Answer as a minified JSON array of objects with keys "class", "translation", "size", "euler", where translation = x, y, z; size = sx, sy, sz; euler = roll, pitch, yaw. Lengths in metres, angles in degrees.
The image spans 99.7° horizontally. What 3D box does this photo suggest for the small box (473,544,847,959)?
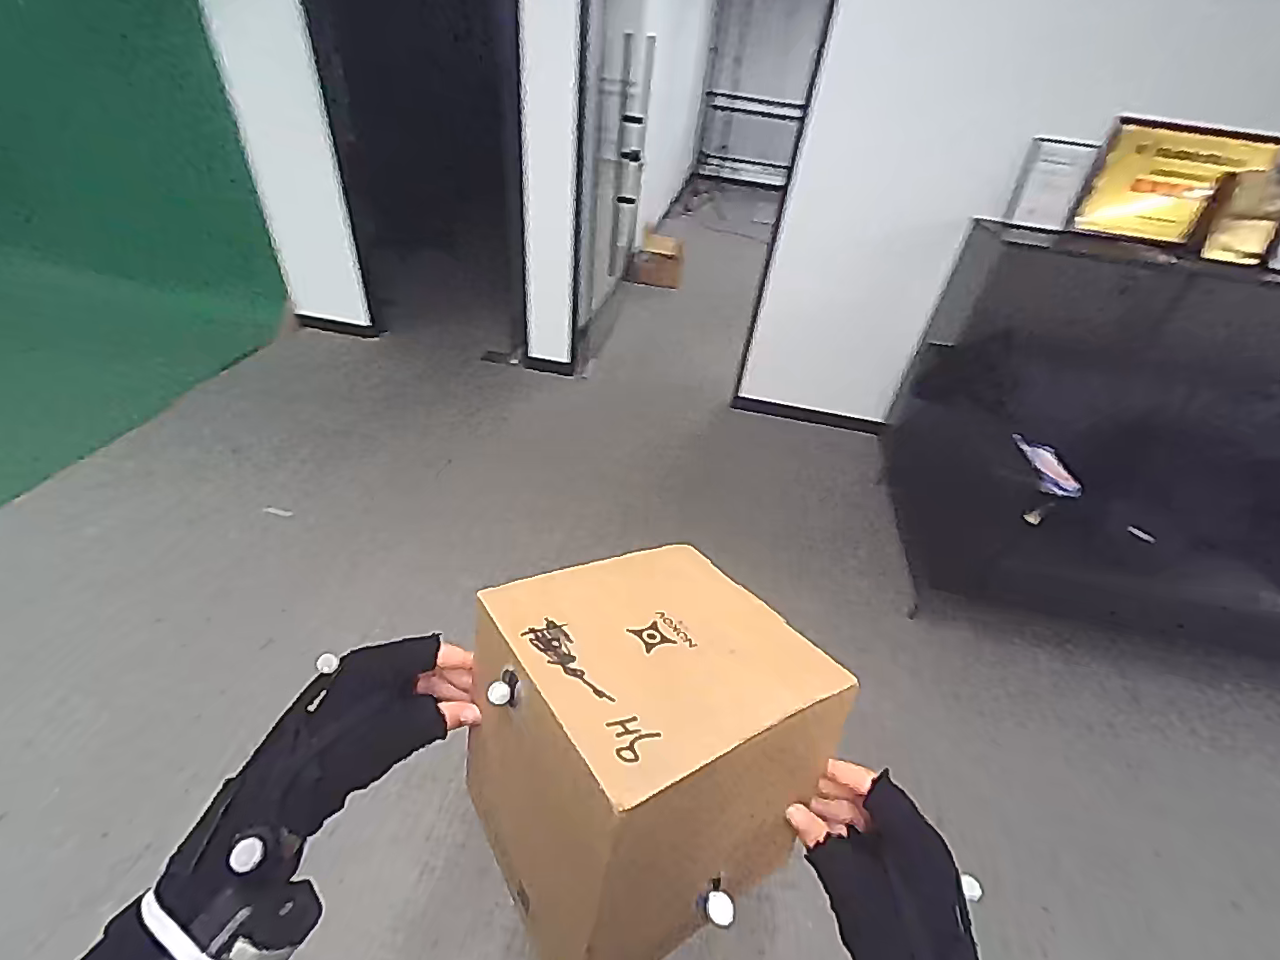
[{"class":"small box","translation":[0.001,0.166,0.368],"size":[0.179,0.176,0.168],"euler":[-6,26,-37]}]
